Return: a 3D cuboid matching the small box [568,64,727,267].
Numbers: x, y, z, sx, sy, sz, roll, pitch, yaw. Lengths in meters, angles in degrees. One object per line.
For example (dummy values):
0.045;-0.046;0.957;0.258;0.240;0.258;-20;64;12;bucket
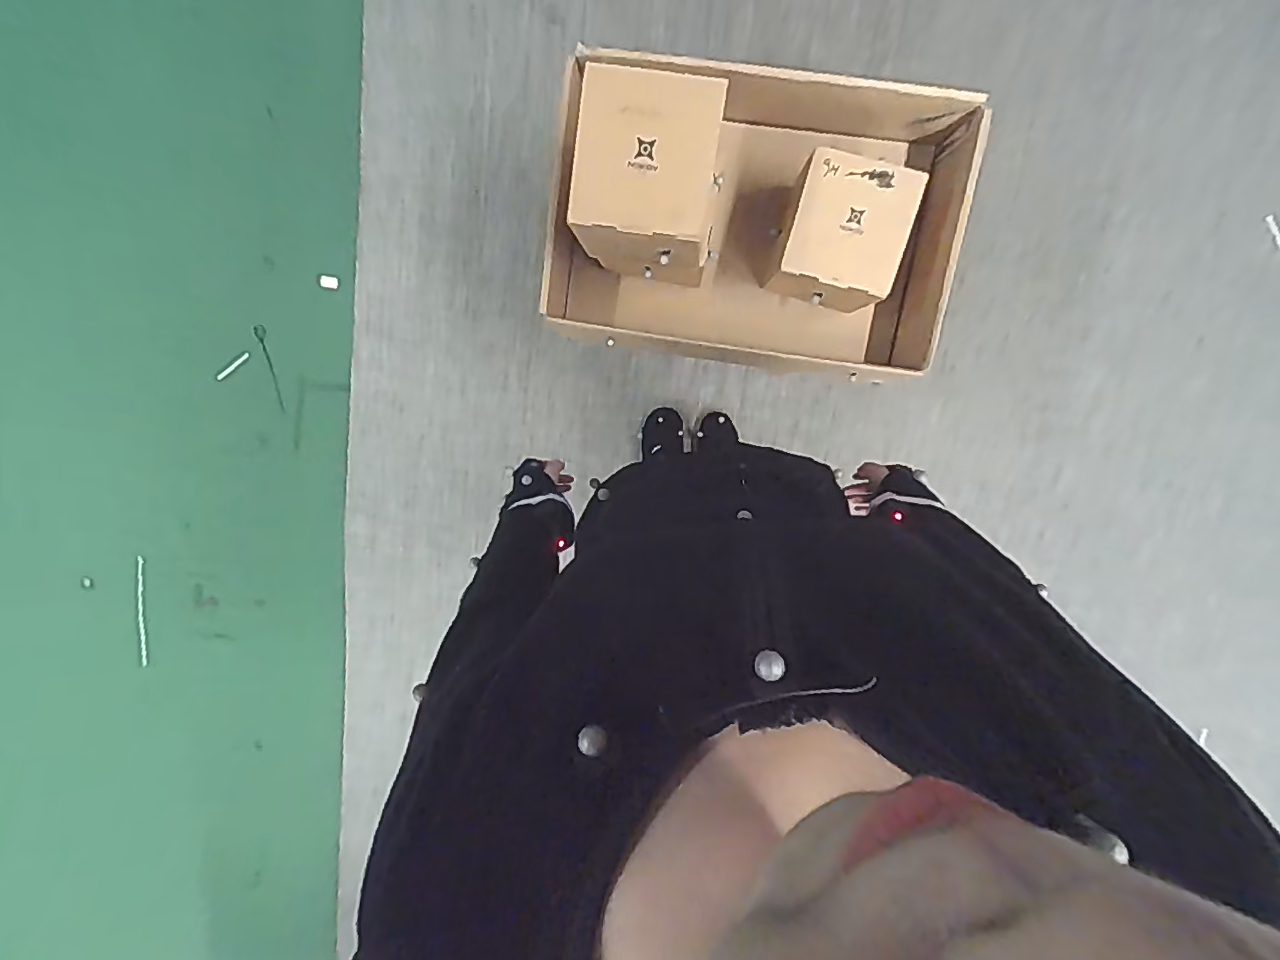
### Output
0.013;-0.391;0.707;0.168;0.176;0.179;10;100;3;small box
